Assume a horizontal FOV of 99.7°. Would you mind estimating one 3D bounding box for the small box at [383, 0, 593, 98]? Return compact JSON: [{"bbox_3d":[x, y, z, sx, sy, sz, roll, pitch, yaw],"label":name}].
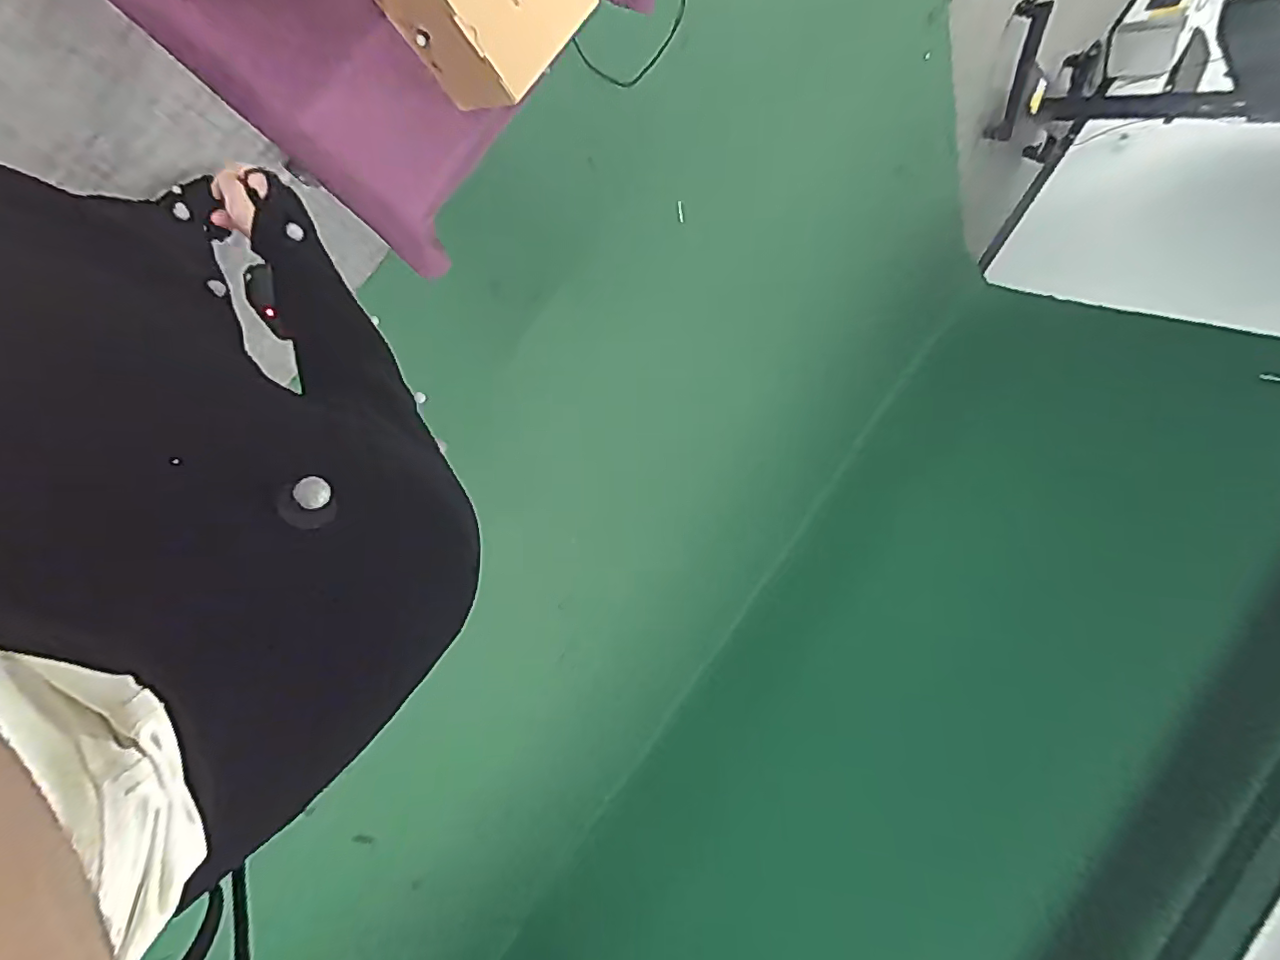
[{"bbox_3d":[-0.195,-0.616,0.672,0.179,0.176,0.168,-53,139,-3],"label":"small box"}]
